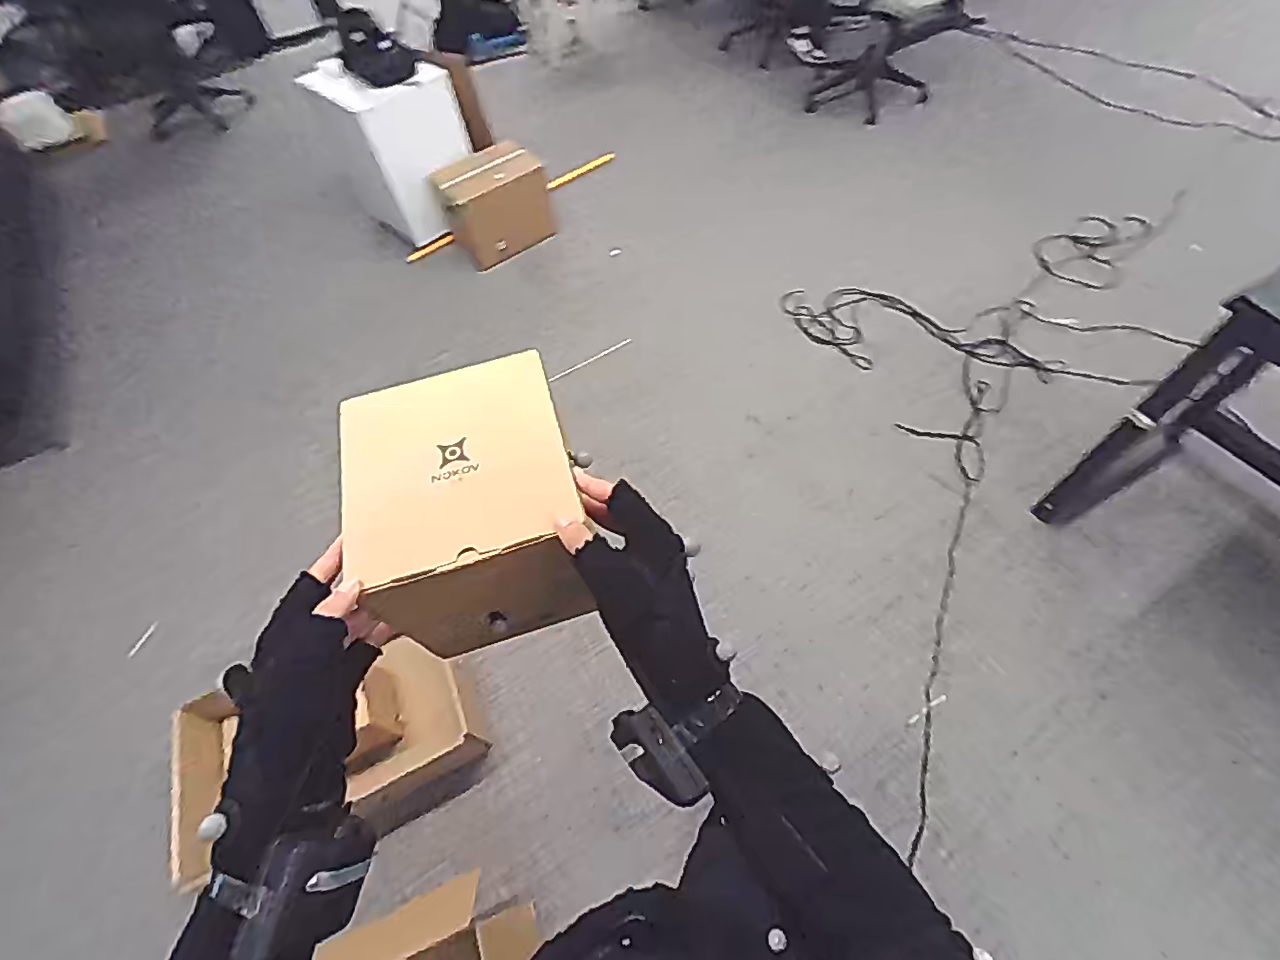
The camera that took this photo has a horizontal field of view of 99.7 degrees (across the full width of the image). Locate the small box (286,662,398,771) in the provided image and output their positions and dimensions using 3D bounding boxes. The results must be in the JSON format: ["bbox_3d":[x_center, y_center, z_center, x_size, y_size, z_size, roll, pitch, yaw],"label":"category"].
[{"bbox_3d":[-0.692,0.559,1.273,0.179,0.176,0.168,-24,57,-8],"label":"small box"}]
